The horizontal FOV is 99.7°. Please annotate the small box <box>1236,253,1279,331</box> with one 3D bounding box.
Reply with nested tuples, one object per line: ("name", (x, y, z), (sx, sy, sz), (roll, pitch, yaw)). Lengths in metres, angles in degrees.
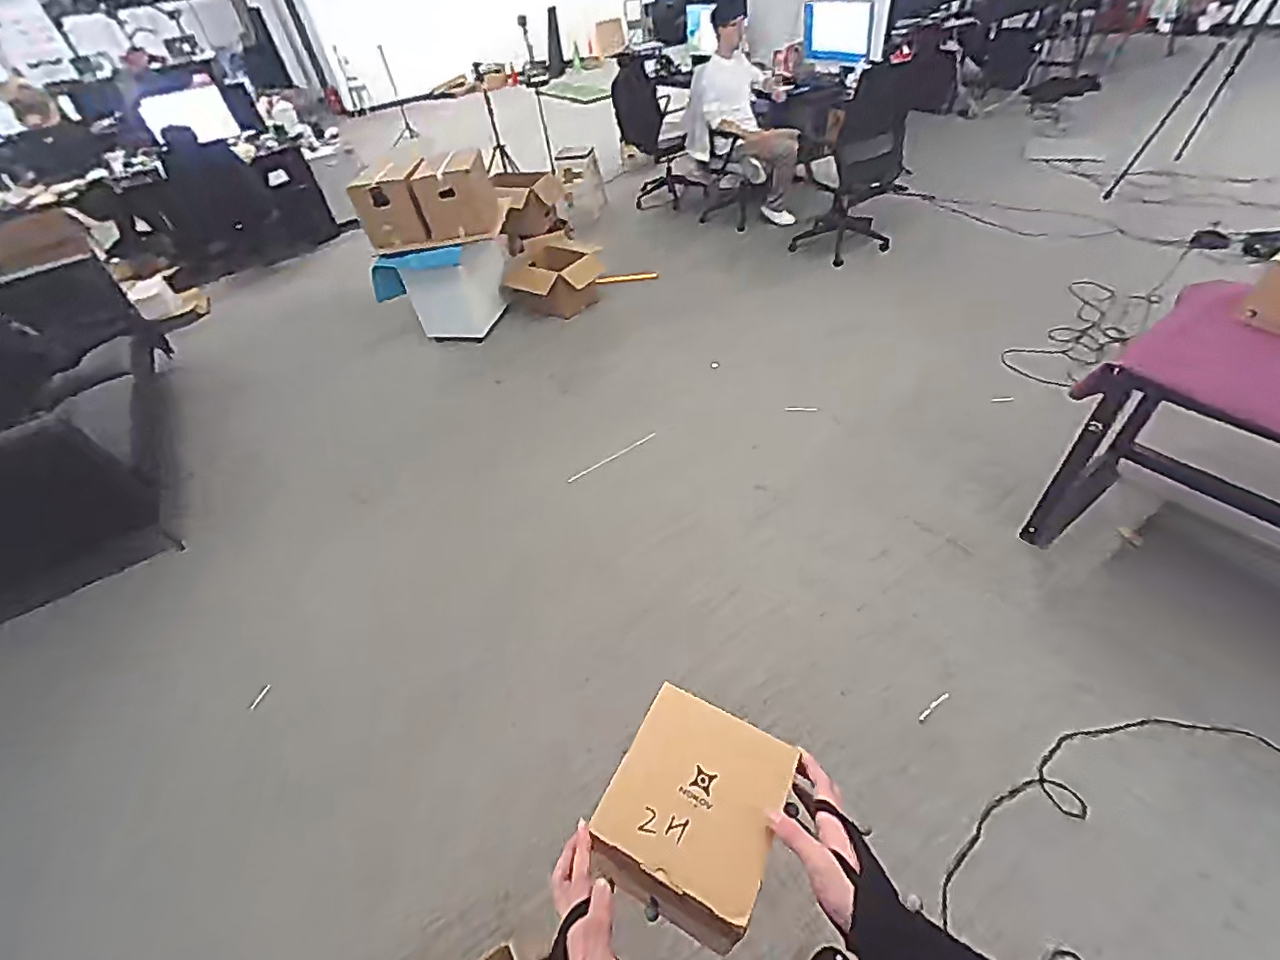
("small box", (1.710, -0.492, 1.388), (0.179, 0.176, 0.168), (-29, 48, -17))
